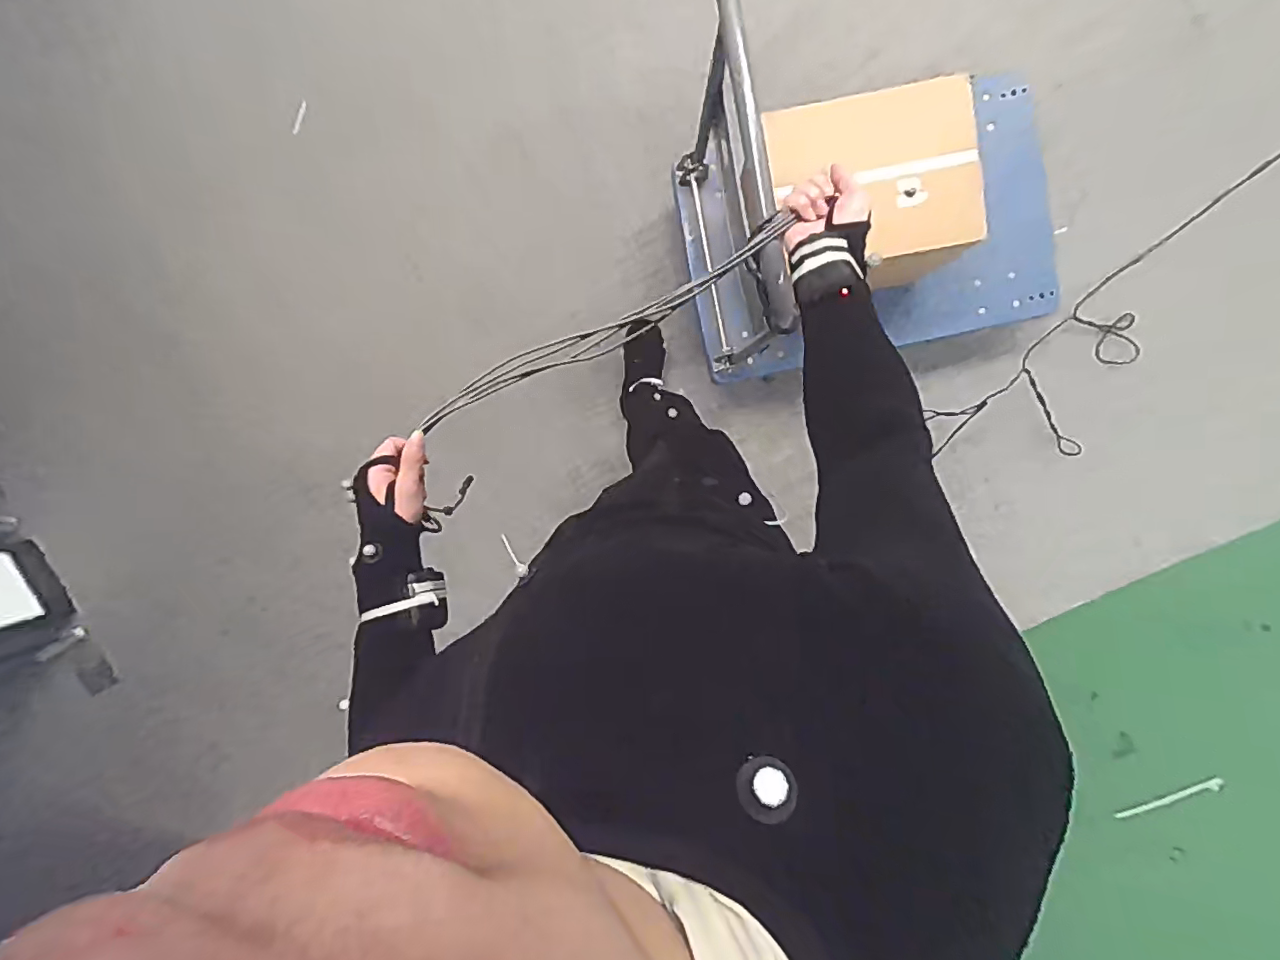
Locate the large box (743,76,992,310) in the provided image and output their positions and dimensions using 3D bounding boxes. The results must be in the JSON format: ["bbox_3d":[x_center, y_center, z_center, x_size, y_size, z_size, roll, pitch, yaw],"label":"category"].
[{"bbox_3d":[0.463,-0.590,1.184,0.408,0.320,0.320,-8,96,4],"label":"large box"}]
